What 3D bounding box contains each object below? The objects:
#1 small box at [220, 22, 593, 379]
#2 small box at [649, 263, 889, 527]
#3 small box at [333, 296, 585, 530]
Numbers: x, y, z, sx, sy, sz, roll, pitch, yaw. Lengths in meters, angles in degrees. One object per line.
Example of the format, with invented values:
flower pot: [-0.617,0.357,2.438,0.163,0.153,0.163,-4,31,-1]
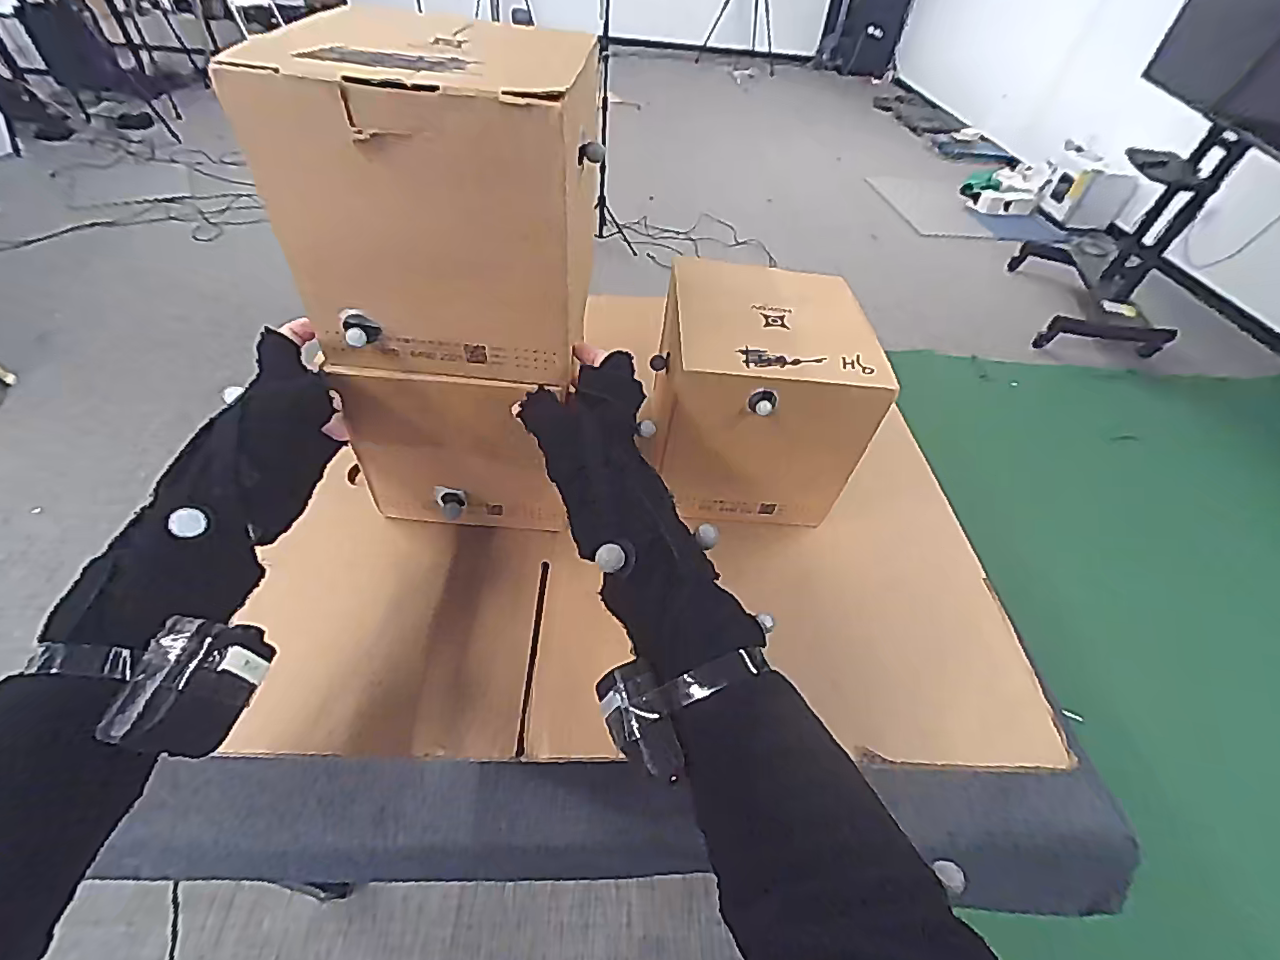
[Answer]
small box: [-0.123,-0.189,0.374,0.168,0.176,0.179,5,47,-2]
small box: [0.099,-0.079,0.515,0.168,0.176,0.179,5,47,-4]
small box: [-0.140,-0.076,0.494,0.168,0.176,0.179,3,49,-3]
